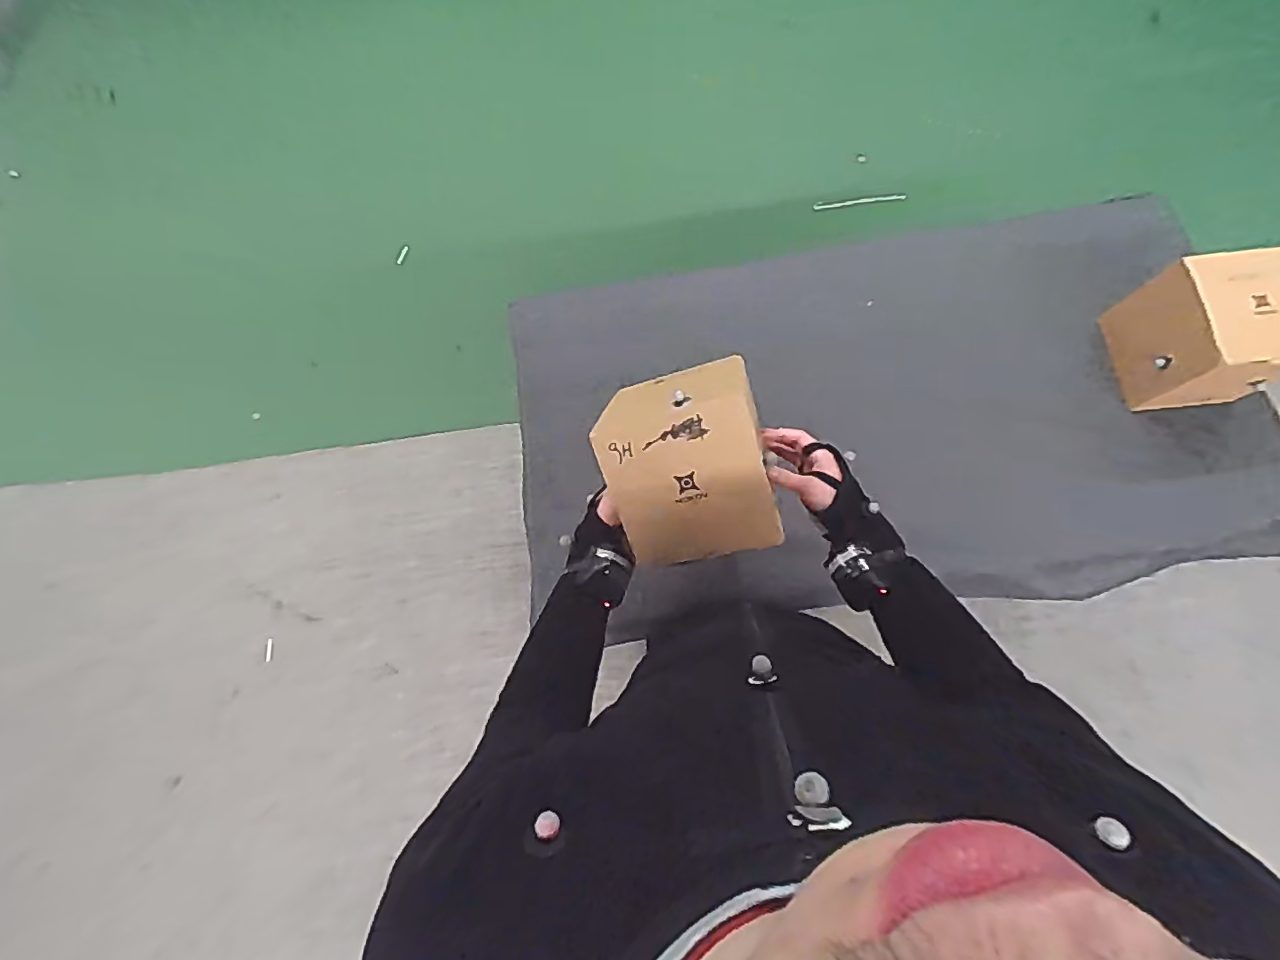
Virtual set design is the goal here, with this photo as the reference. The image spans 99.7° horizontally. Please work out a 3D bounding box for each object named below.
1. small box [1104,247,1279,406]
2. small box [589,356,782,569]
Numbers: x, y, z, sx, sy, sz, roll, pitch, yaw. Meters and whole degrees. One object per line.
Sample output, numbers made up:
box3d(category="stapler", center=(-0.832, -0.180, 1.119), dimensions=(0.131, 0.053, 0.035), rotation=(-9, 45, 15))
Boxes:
box3d(category="small box", center=(0.872, -0.223, 0.825), dimensions=(0.168, 0.176, 0.179), rotation=(-5, 73, 1))
box3d(category="small box", center=(0.062, -0.025, 0.629), dimensions=(0.168, 0.176, 0.179), rotation=(-14, 111, 15))
